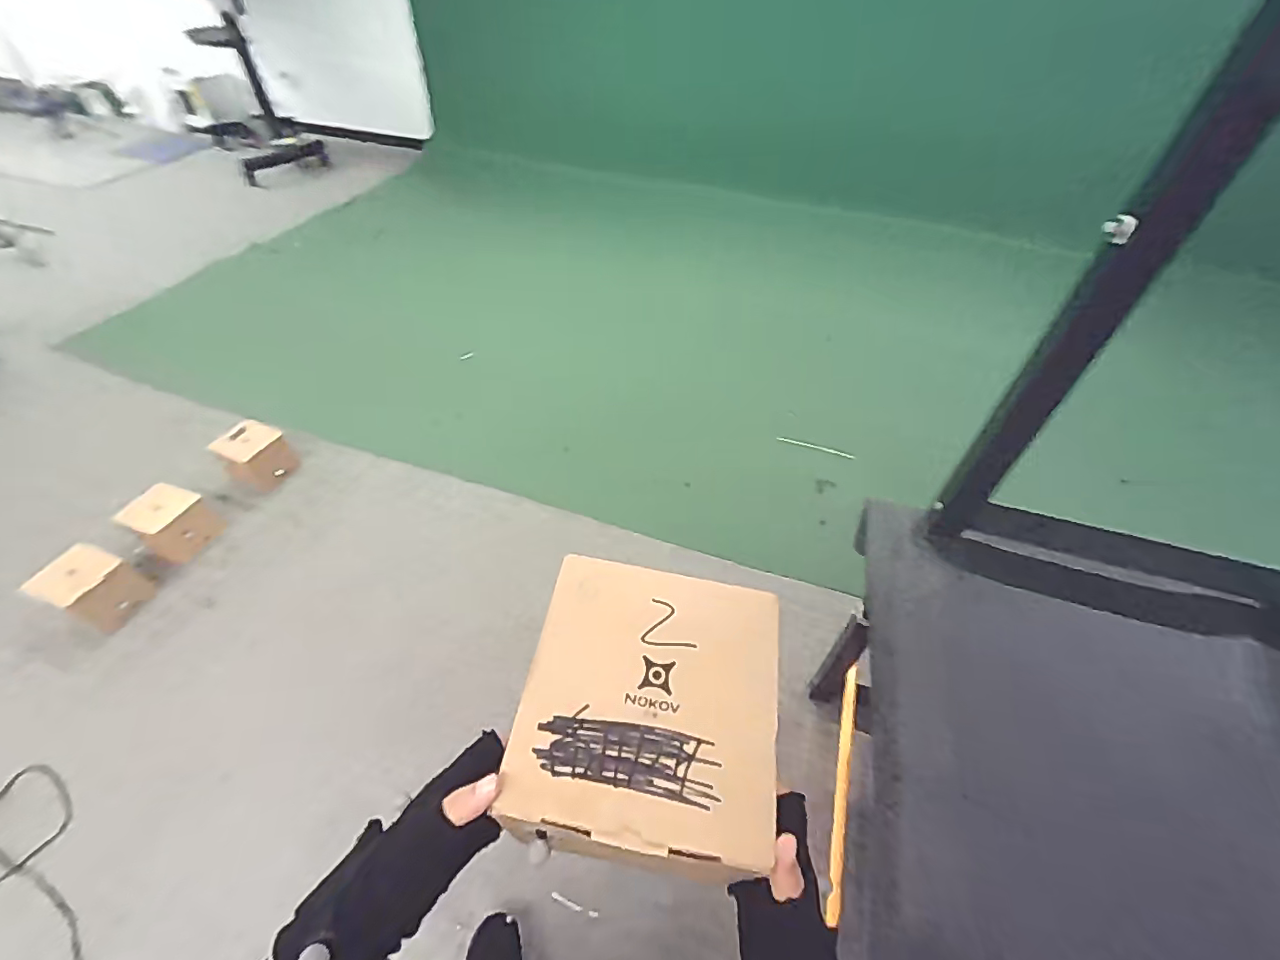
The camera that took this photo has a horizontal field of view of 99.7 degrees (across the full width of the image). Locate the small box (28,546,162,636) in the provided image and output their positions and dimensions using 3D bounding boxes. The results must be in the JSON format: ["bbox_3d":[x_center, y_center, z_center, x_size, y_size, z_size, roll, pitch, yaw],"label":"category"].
[{"bbox_3d":[-1.555,0.323,1.555,0.179,0.176,0.168,16,49,12],"label":"small box"}]

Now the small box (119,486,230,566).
[{"bbox_3d":[-1.473,0.152,1.726,0.179,0.176,0.168,15,48,12],"label":"small box"}]

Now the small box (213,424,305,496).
[{"bbox_3d":[-1.358,-0.067,1.938,0.179,0.176,0.168,19,49,14],"label":"small box"}]
